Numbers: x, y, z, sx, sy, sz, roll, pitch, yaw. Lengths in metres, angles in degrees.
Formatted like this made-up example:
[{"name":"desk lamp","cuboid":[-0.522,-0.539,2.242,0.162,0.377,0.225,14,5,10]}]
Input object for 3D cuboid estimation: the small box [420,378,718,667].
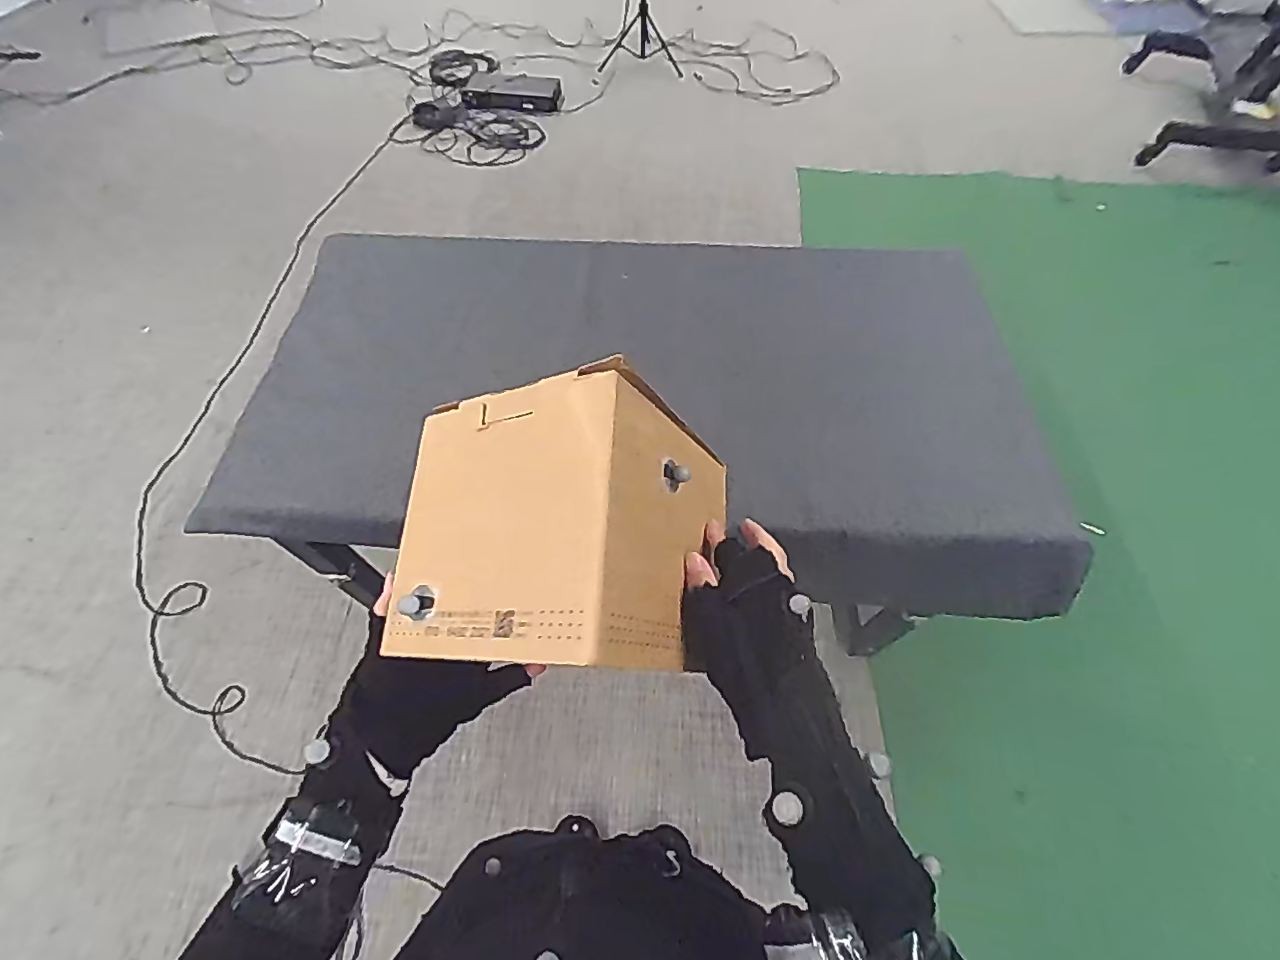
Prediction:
[{"name":"small box","cuboid":[-0.044,0.051,0.413,0.168,0.179,0.176,-9,67,29]}]
